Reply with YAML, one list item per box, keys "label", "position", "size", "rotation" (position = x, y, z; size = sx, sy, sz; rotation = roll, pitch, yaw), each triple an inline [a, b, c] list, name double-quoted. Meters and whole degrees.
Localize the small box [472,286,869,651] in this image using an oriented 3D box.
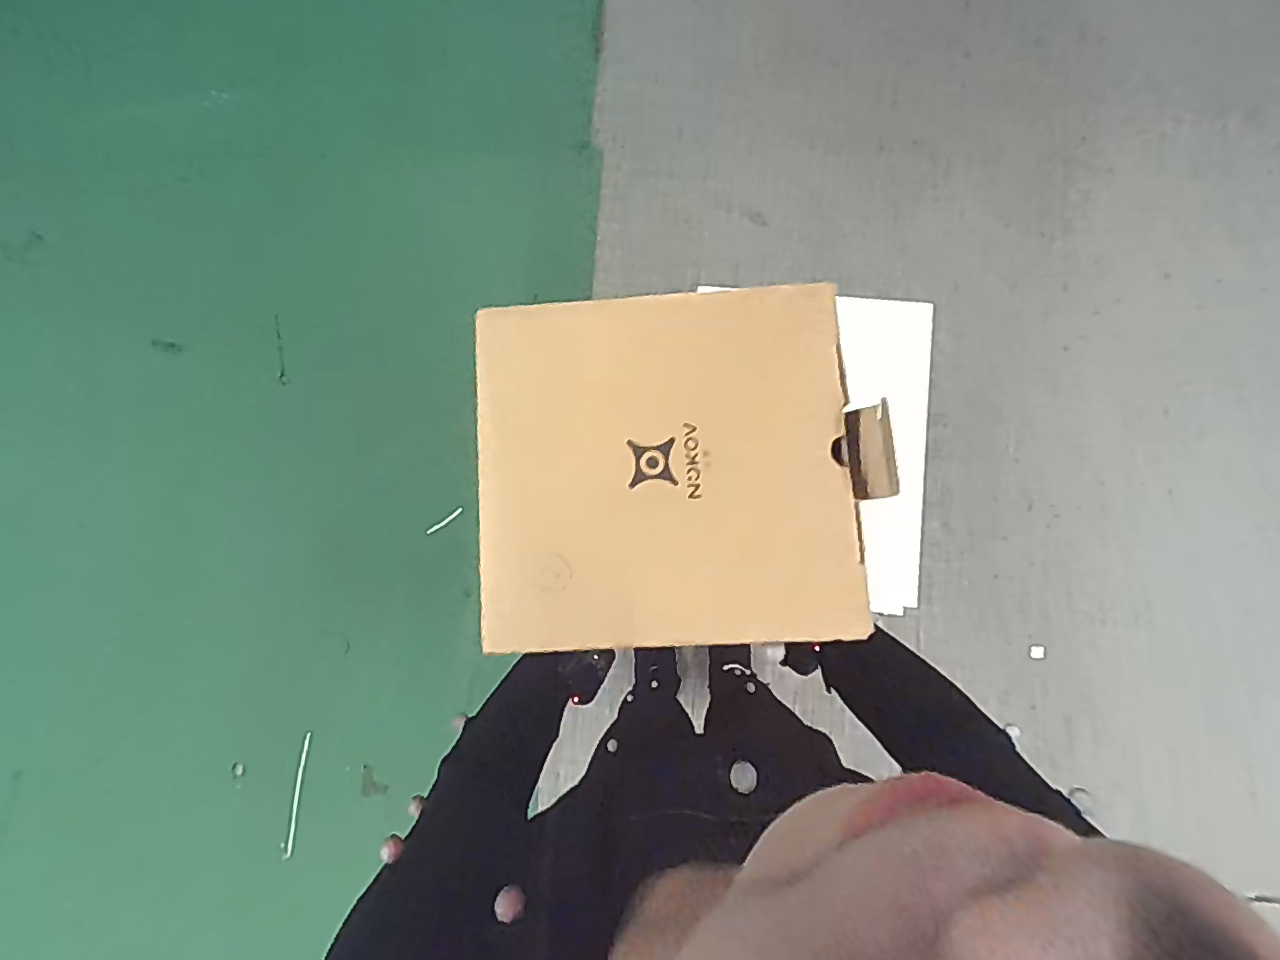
- label: "small box"
  position: [0.013, 0.005, 0.327]
  size: [0.179, 0.176, 0.168]
  rotation: [-4, 81, 2]
